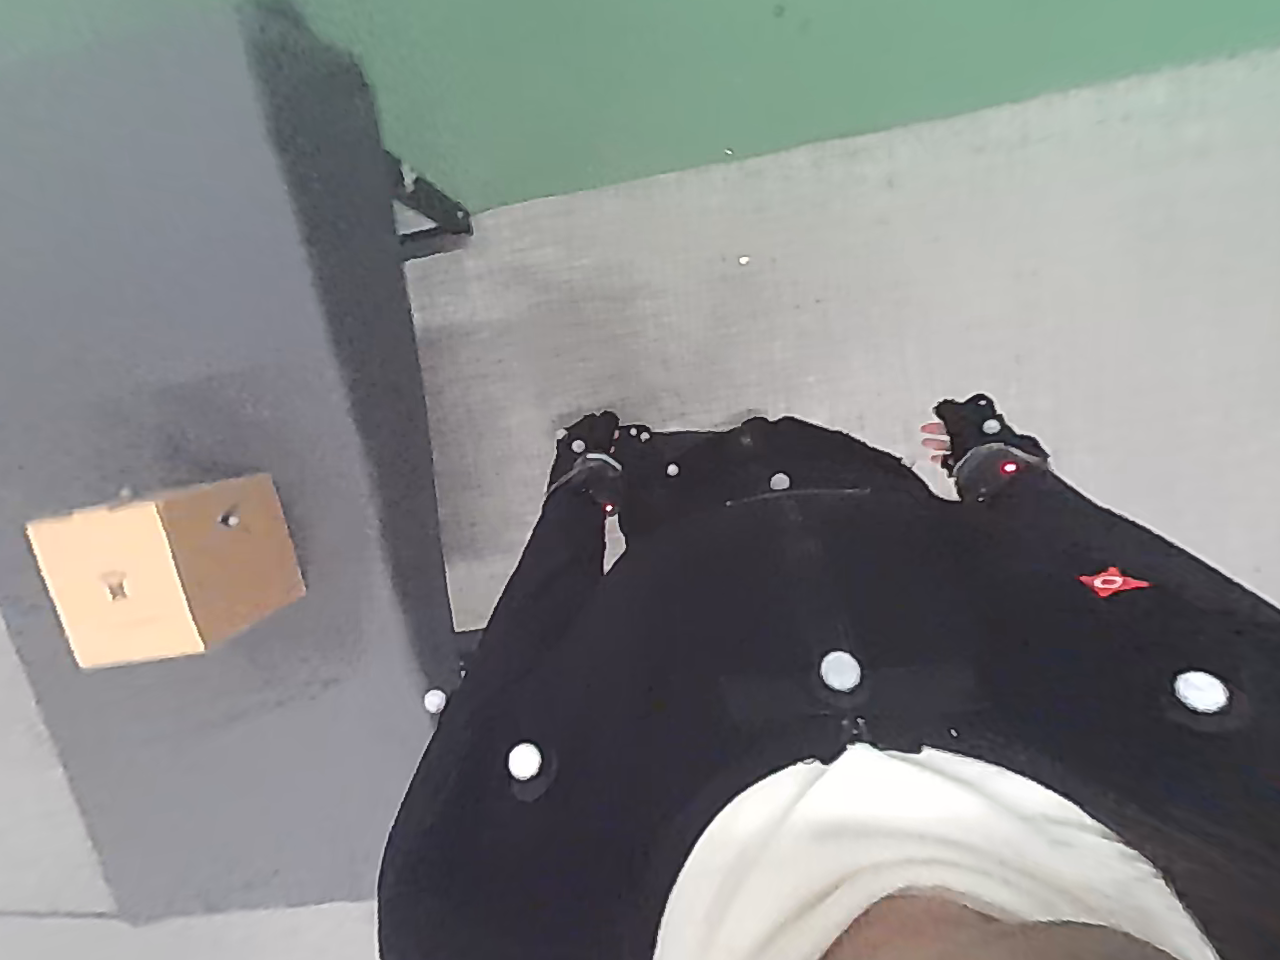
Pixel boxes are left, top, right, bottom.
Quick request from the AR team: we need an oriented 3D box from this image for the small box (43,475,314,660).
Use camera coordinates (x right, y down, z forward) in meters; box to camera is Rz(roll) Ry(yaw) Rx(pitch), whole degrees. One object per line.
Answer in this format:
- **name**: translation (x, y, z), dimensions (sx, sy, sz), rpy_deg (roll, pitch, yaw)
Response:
- **small box**: translation (-0.558, 0.097, 0.682), dimensions (0.168, 0.176, 0.179), rpy_deg (-10, 101, 8)
